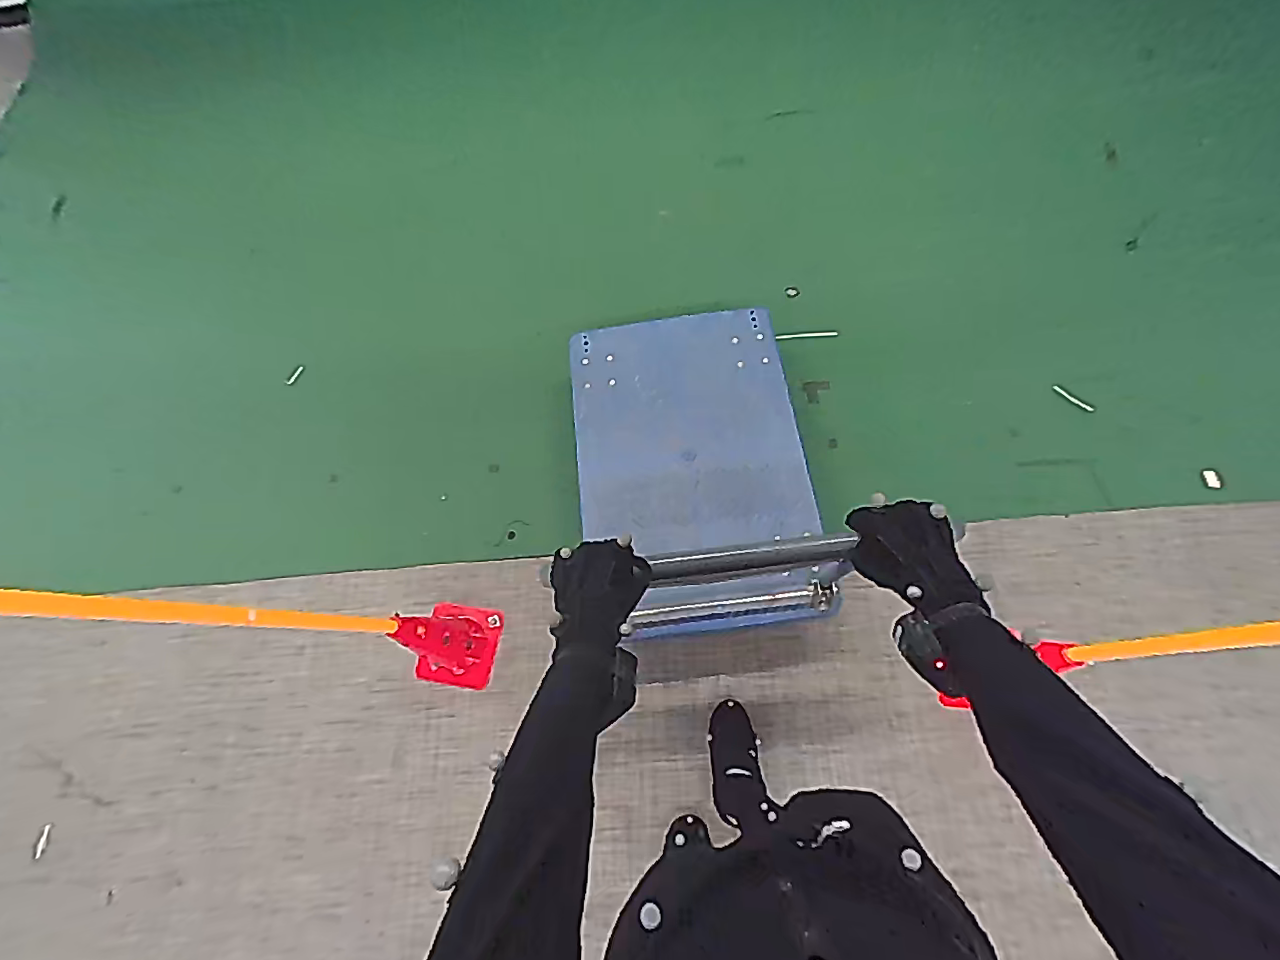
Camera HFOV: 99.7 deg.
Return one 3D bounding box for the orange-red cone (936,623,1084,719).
[{"bbox_3d":[0.796,0.387,1.130,0.198,0.360,0.199,6,69,8],"label":"orange-red cone"}]
